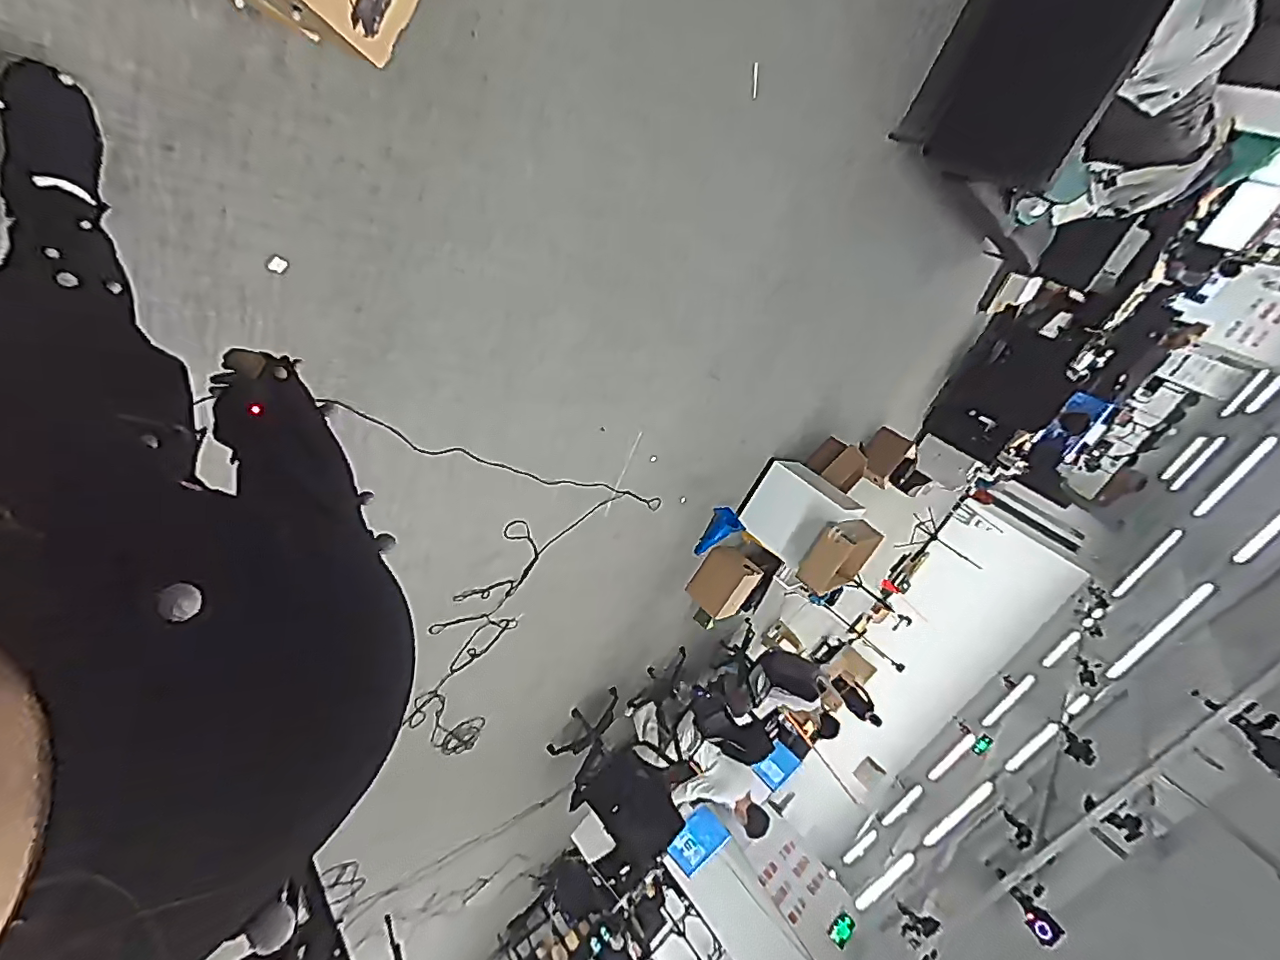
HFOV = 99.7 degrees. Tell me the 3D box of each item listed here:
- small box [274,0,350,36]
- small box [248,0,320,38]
[{"bbox_3d":[-0.497,-0.778,0.752,0.179,0.176,0.168,-56,148,12],"label":"small box"},{"bbox_3d":[-0.596,-0.860,0.855,0.168,0.176,0.179,9,118,-54],"label":"small box"}]
